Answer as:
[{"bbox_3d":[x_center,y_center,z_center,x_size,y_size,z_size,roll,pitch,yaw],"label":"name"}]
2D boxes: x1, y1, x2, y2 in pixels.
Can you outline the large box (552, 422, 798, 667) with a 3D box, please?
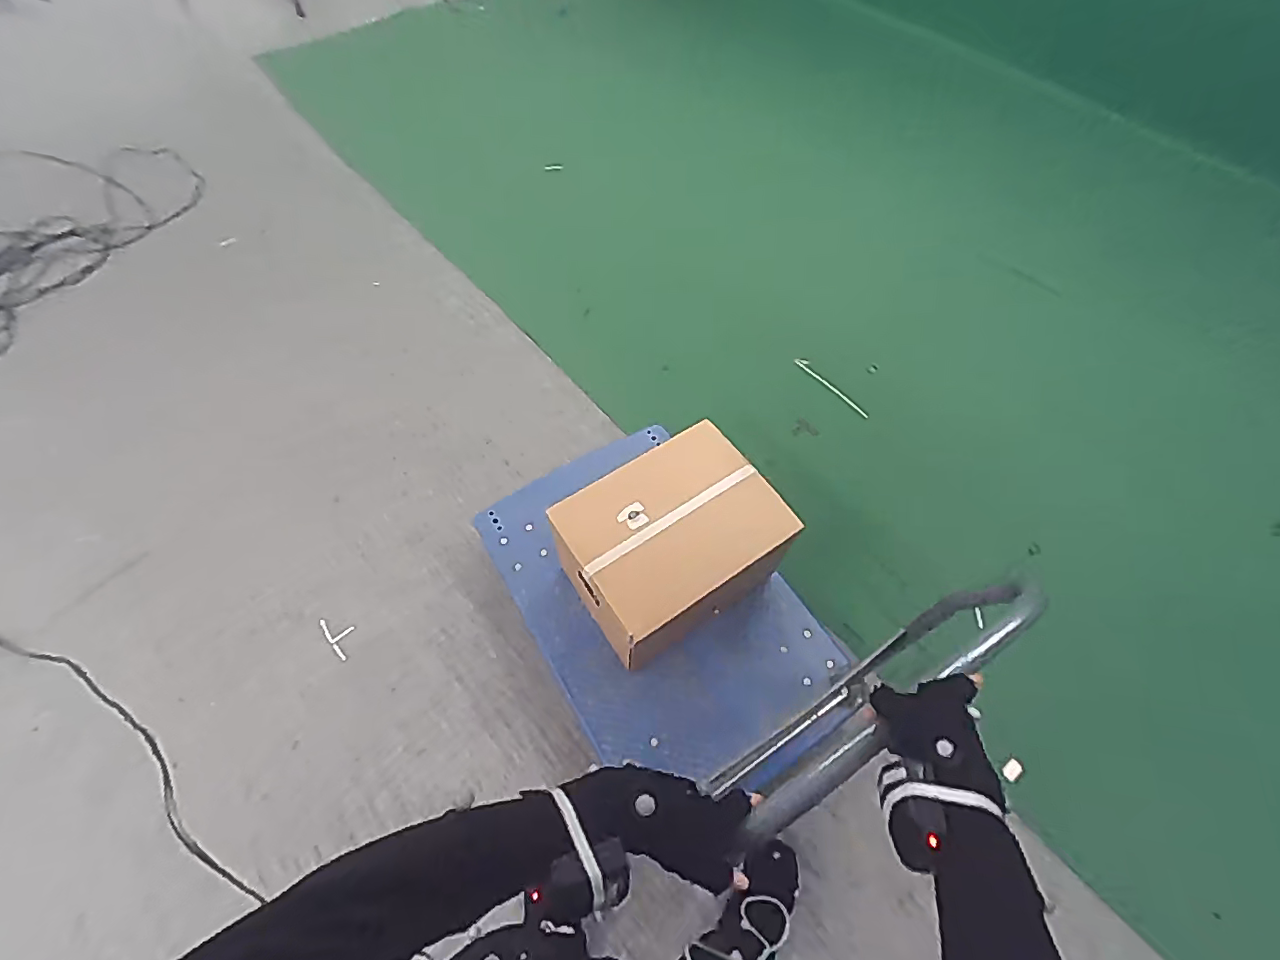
[{"bbox_3d":[0.069,0.150,1.201,0.408,0.320,0.320,-32,66,-16],"label":"large box"}]
